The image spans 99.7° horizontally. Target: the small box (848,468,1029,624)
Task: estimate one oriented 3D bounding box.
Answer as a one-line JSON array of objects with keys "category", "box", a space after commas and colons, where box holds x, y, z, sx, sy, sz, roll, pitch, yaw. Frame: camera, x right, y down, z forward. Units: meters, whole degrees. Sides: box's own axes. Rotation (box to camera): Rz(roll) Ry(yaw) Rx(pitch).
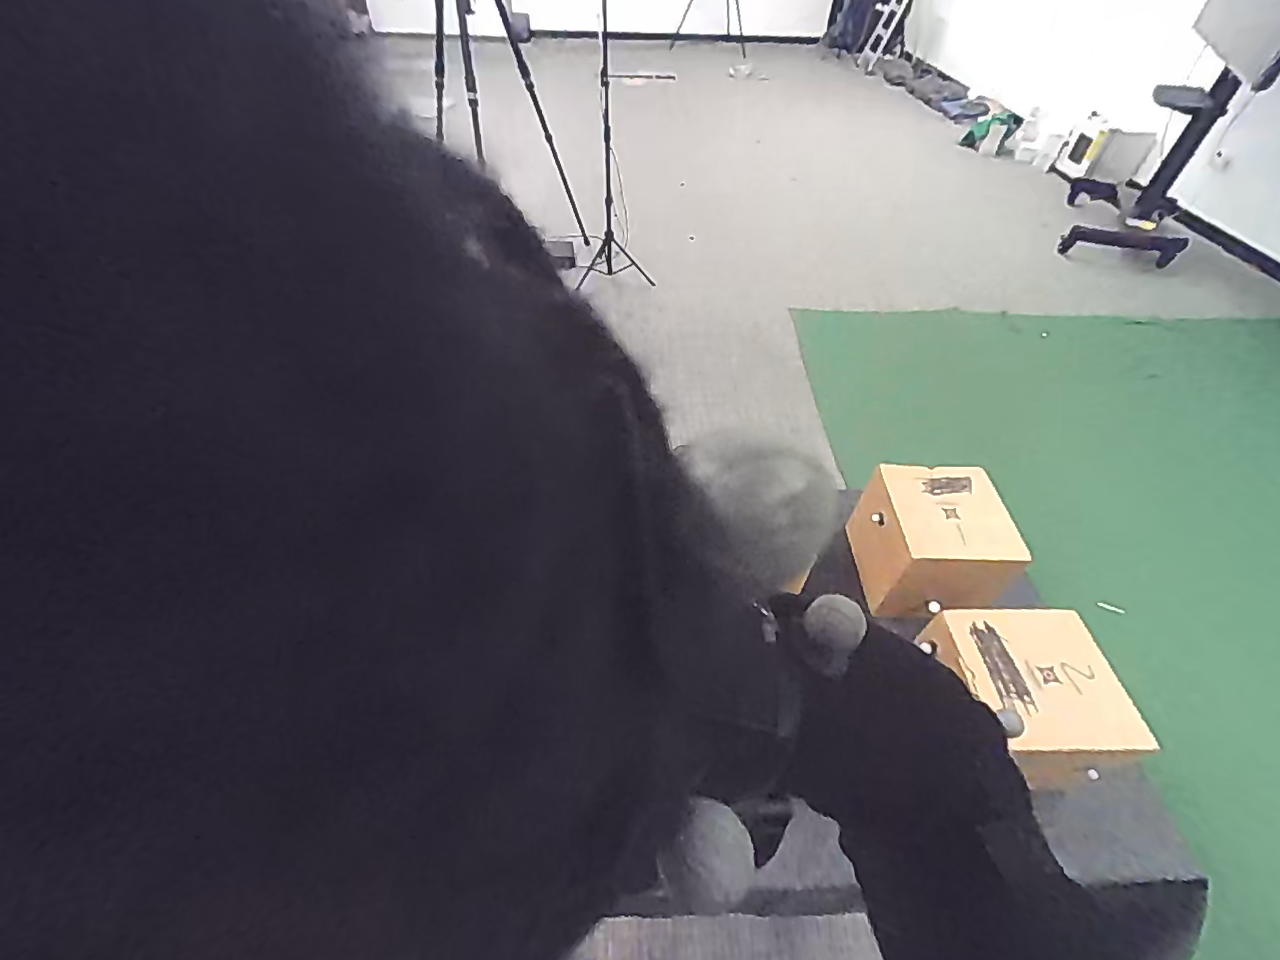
[{"category": "small box", "box": [0.444, 0.103, 0.844, 0.168, 0.176, 0.179, 2, 48, 0]}]
